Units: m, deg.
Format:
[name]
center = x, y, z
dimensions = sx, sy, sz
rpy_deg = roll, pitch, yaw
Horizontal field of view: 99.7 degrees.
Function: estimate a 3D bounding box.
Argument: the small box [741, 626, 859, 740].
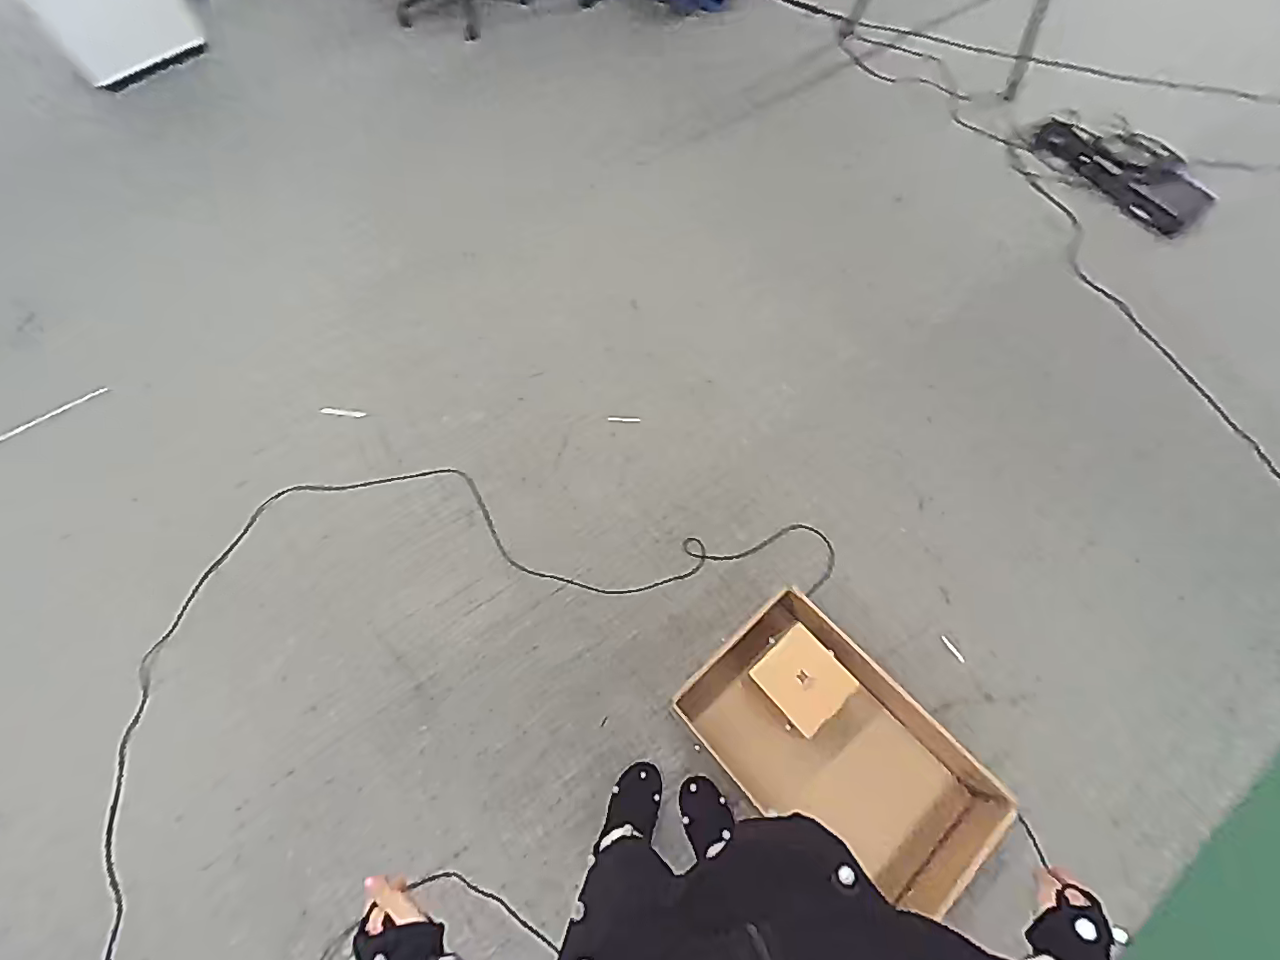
[small box]
center = 0.352, 0.464, 1.229
dimensions = 0.168, 0.176, 0.179
rpy_deg = -39, 71, -14
